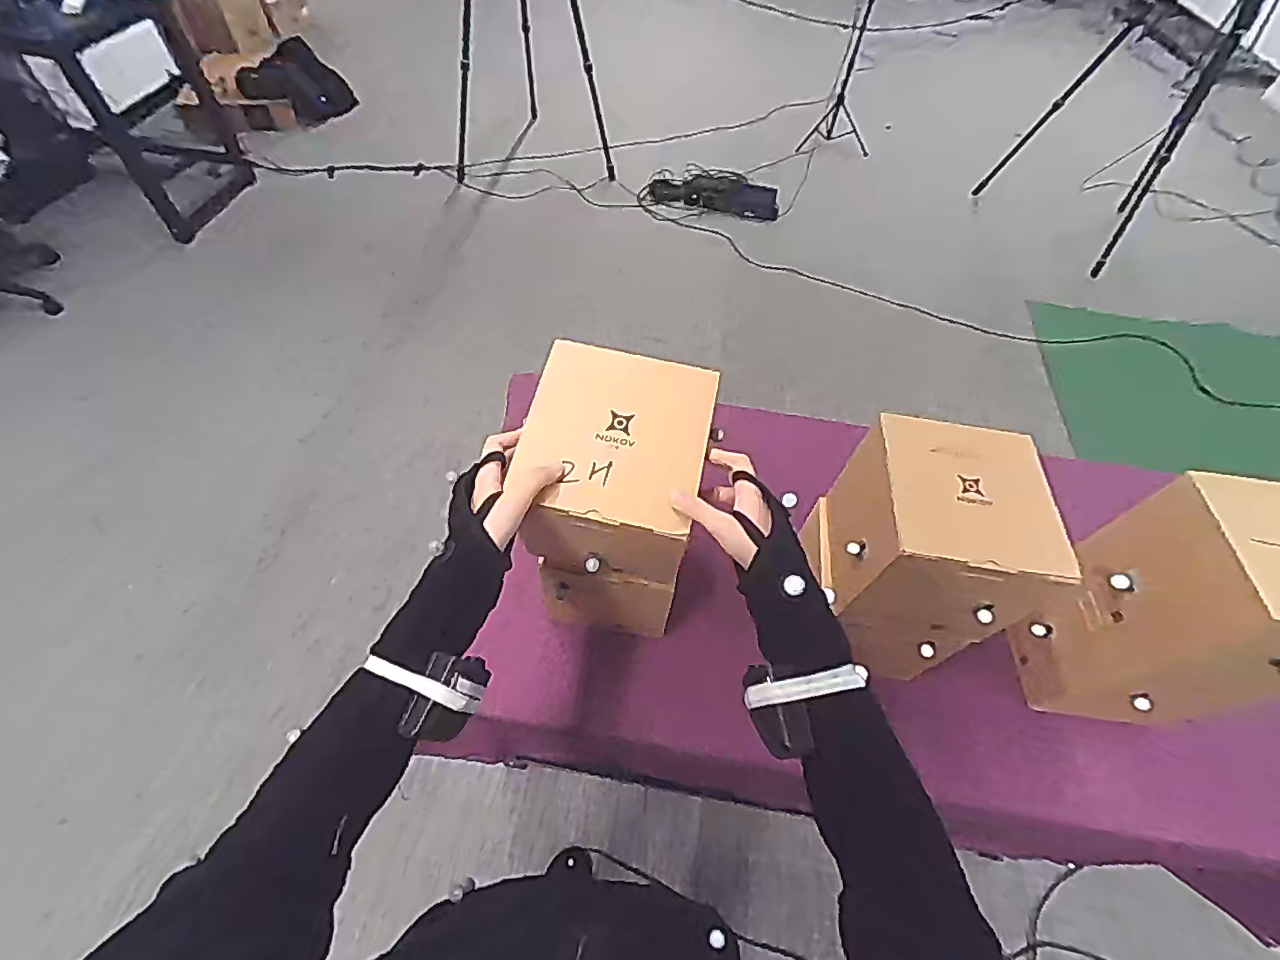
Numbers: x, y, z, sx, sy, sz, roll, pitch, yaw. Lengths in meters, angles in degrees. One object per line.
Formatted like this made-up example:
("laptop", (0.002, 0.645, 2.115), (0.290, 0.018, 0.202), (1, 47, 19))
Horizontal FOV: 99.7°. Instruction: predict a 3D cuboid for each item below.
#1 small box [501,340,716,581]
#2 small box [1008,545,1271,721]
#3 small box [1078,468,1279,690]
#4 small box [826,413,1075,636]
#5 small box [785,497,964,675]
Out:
("small box", (-0.027, -0.012, 0.570), (0.168, 0.176, 0.179), (13, 65, 4))
("small box", (0.623, 0.205, 0.710), (0.179, 0.176, 0.168), (7, 54, 2))
("small box", (0.631, 0.111, 0.575), (0.179, 0.176, 0.168), (8, 53, 2))
("small box", (0.318, 0.055, 0.601), (0.168, 0.176, 0.179), (9, 53, 1))
("small box", (0.302, 0.149, 0.733), (0.179, 0.176, 0.168), (10, 54, 3))
